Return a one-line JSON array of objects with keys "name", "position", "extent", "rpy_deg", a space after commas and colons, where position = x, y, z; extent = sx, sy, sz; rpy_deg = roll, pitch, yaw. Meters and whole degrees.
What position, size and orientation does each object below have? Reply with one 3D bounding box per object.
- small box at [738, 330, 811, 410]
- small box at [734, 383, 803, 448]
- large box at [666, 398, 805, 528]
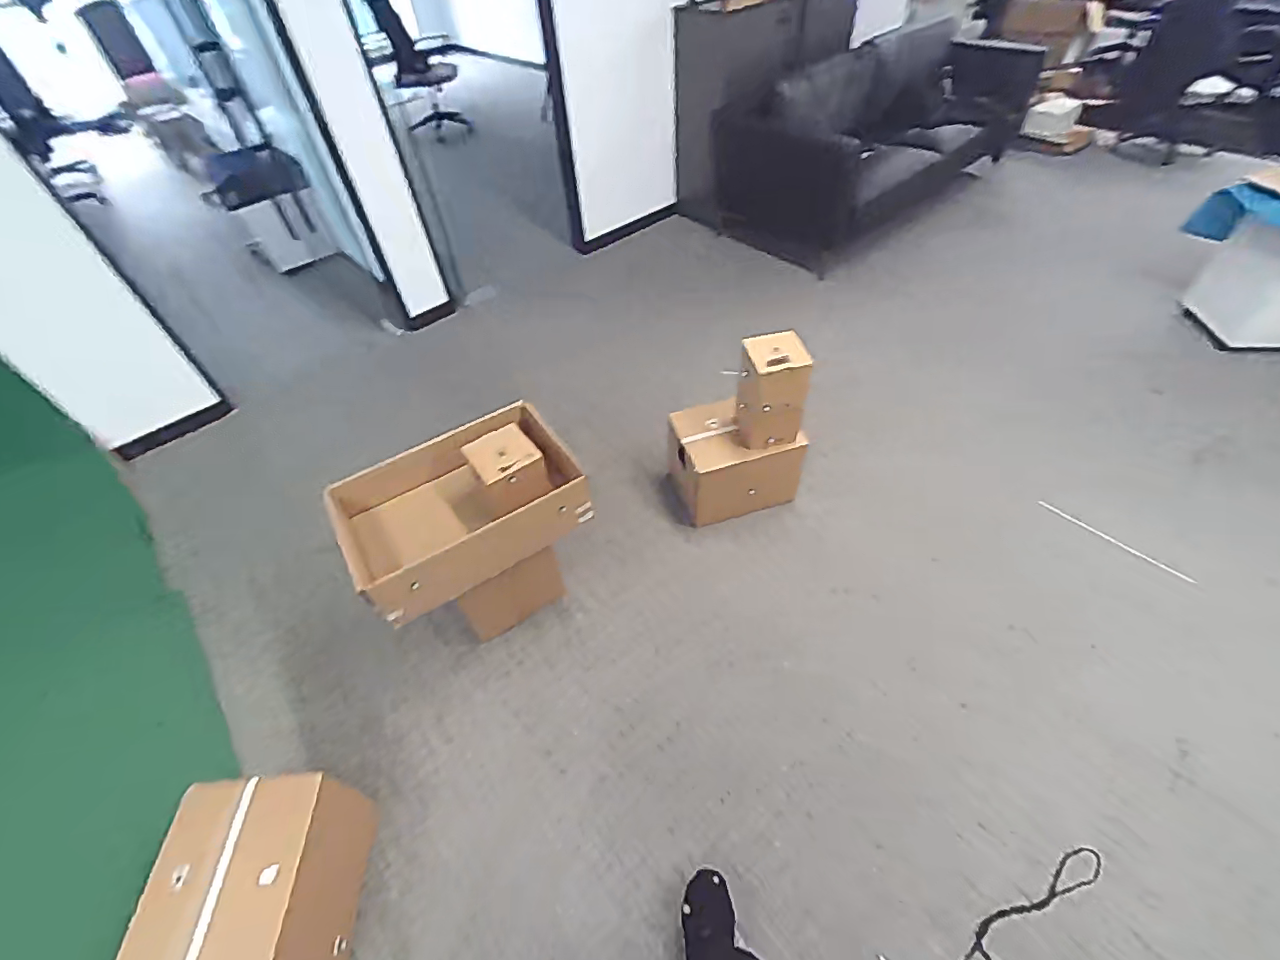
[{"name": "small box", "position": [0.408, -0.331, 1.670], "extent": [0.168, 0.176, 0.179], "rpy_deg": [-11, 49, -4]}, {"name": "small box", "position": [0.419, -0.231, 1.799], "extent": [0.168, 0.176, 0.179], "rpy_deg": [-11, 51, -5]}, {"name": "large box", "position": [0.337, -0.076, 1.995], "extent": [0.408, 0.320, 0.320], "rpy_deg": [-16, 49, -9]}]
